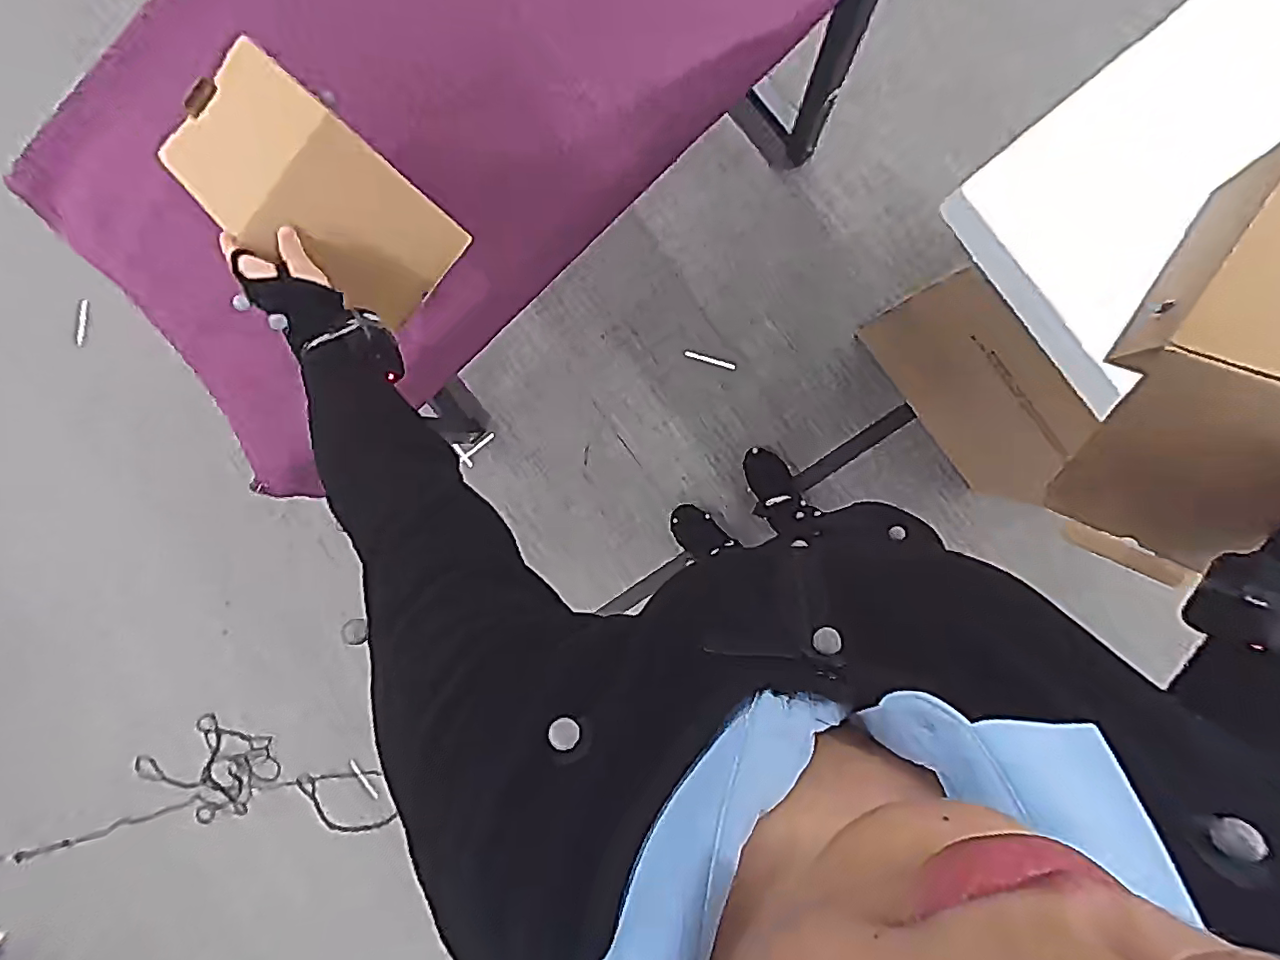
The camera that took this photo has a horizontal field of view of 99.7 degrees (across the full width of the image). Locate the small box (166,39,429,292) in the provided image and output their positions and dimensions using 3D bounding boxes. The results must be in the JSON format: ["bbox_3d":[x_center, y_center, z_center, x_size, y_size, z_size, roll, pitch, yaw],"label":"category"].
[{"bbox_3d":[-0.395,-0.354,0.647,0.179,0.176,0.168,44,96,16],"label":"small box"}]
